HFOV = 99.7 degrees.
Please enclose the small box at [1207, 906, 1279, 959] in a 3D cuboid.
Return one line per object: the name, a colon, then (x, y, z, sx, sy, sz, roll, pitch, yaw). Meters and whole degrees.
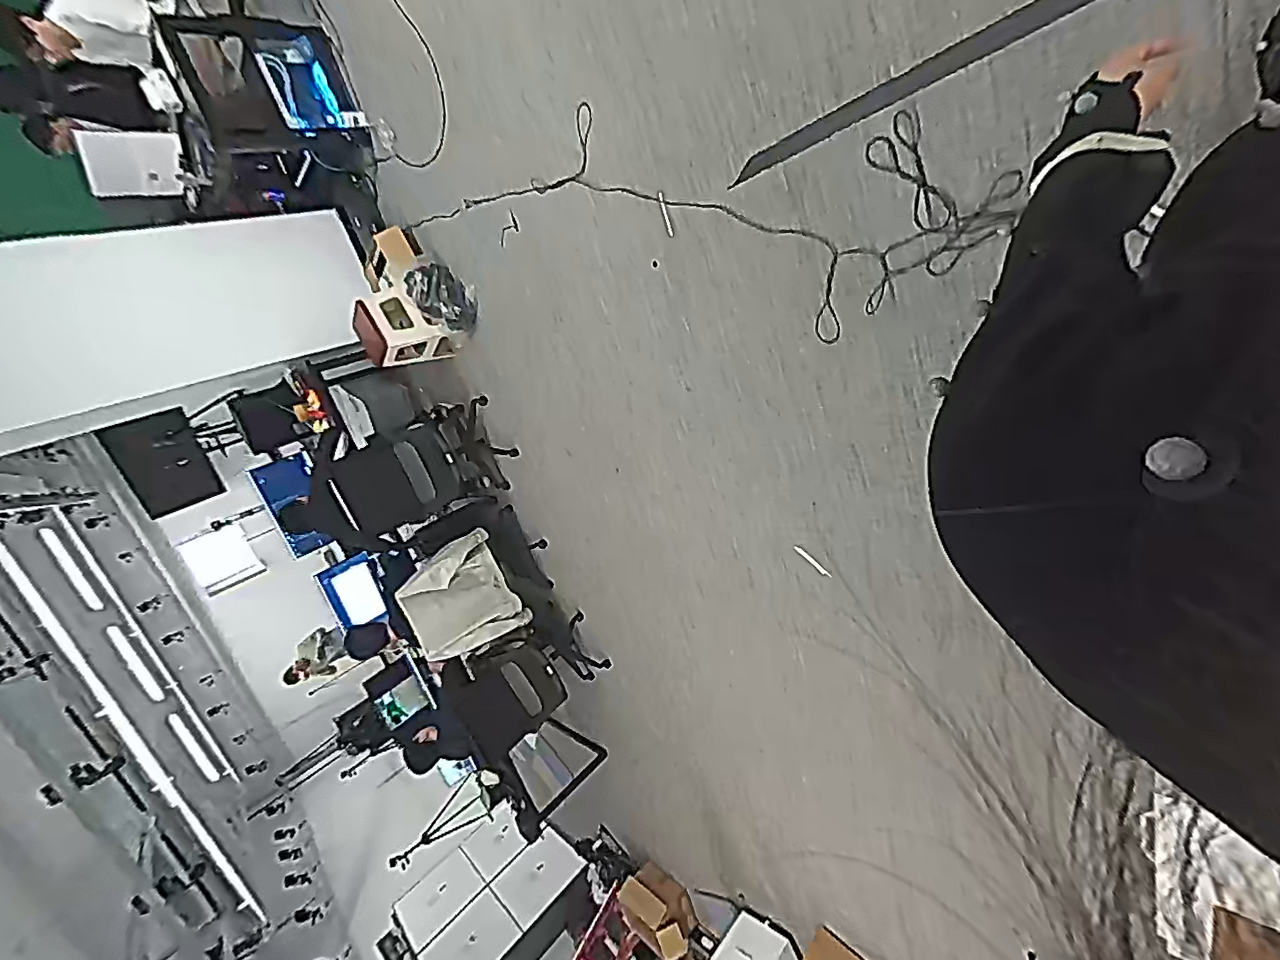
small box: (0.981, 0.818, 0.820, 0.168, 0.176, 0.179, 2, 114, 47)
